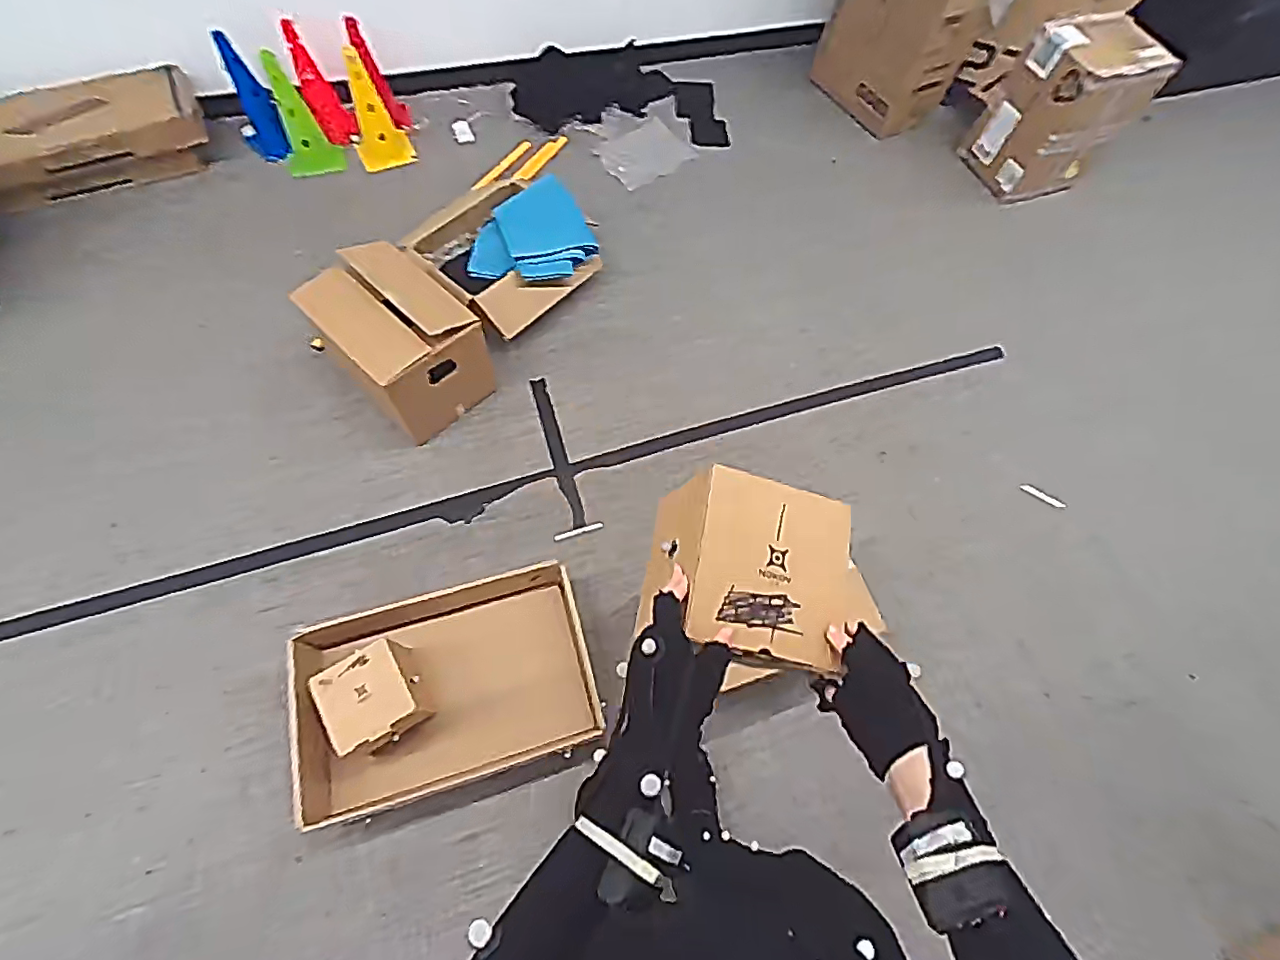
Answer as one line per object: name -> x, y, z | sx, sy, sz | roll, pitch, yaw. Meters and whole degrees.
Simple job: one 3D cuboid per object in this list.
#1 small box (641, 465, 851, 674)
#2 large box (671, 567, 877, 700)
small box -> 0.110, 0.109, 0.609 | 0.168, 0.176, 0.179 | 17, 68, -12
large box -> 0.270, 0.306, 1.321 | 0.408, 0.320, 0.320 | -16, 68, -13
